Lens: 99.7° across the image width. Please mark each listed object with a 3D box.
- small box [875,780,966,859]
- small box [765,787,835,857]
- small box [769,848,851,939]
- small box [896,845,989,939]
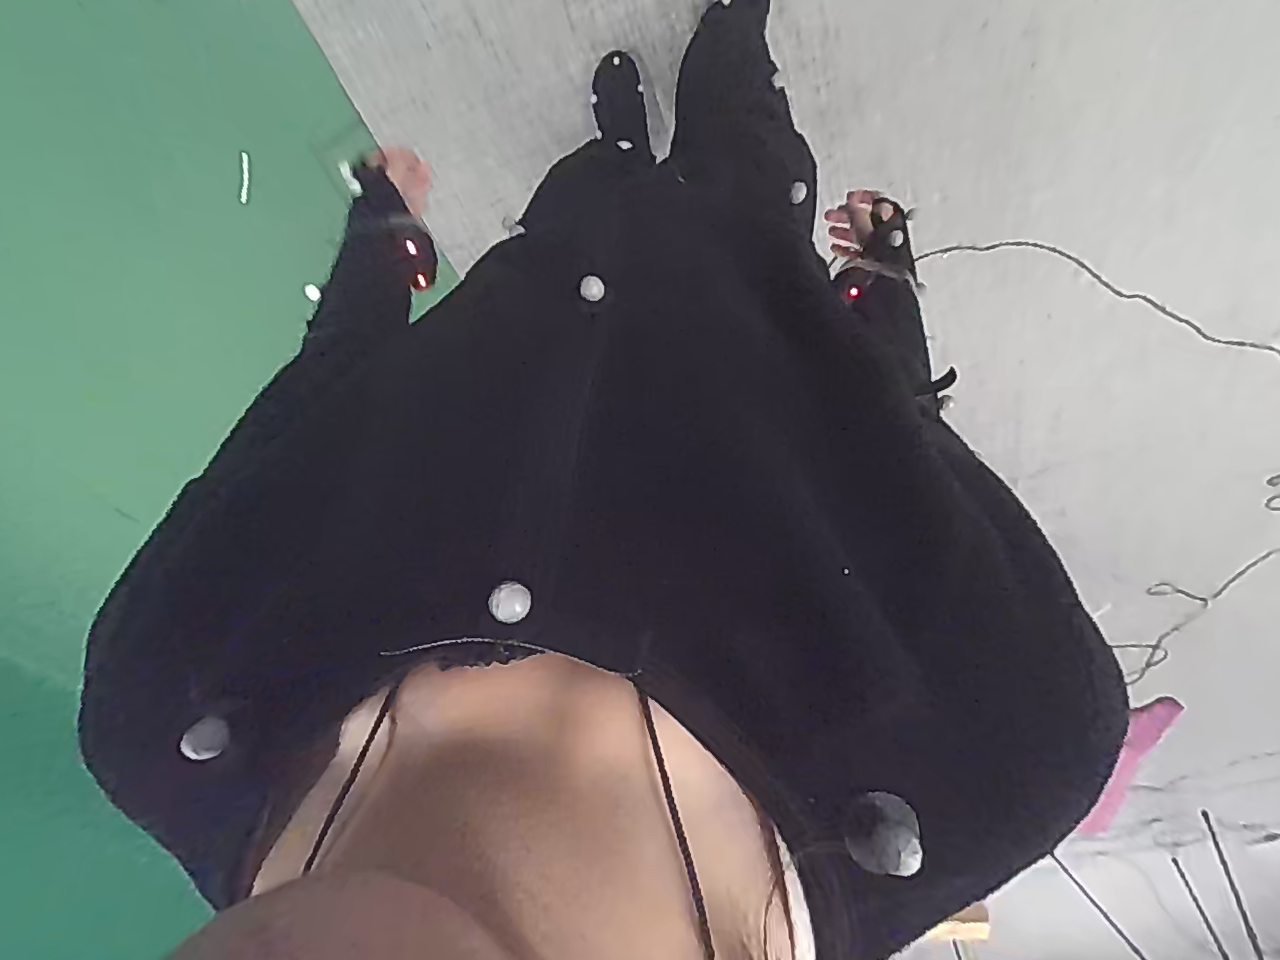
[{"bbox_3d":[0.801,0.982,1.553,0.179,0.176,0.168,-20,126,19],"label":"small box"},{"bbox_3d":[0.474,1.044,1.620,0.179,0.176,0.168,-9,130,8],"label":"small box"},{"bbox_3d":[0.461,1.128,1.478,0.179,0.176,0.168,-13,129,12],"label":"small box"},{"bbox_3d":[0.789,1.083,1.424,0.168,0.176,0.179,-14,128,14],"label":"small box"}]
